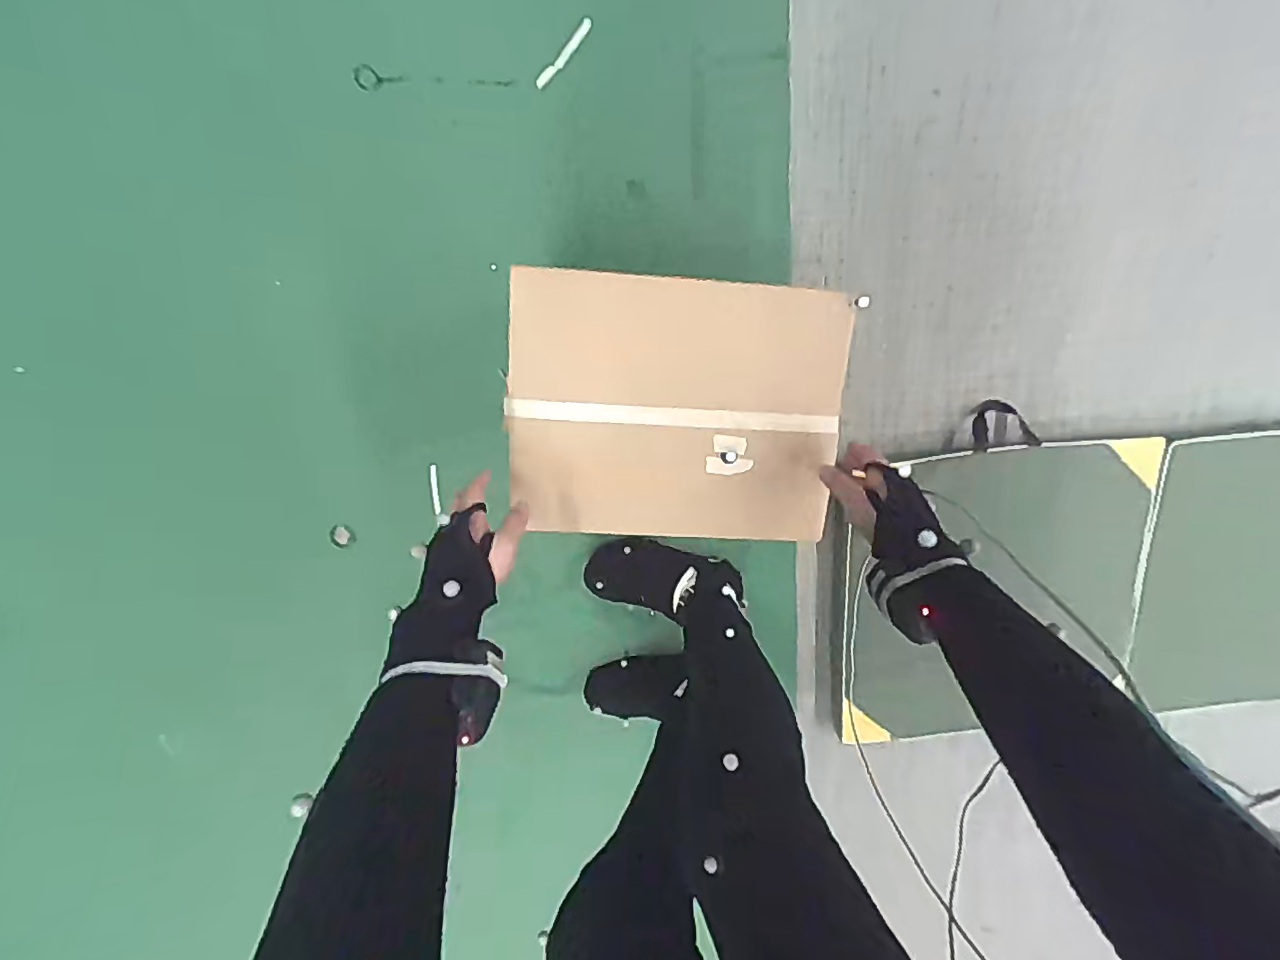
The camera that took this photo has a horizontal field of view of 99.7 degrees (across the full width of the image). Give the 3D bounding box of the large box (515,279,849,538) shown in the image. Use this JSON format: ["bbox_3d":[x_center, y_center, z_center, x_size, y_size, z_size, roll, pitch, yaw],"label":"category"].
[{"bbox_3d":[0.035,-0.110,0.811,0.408,0.320,0.320,2,104,-5],"label":"large box"}]
